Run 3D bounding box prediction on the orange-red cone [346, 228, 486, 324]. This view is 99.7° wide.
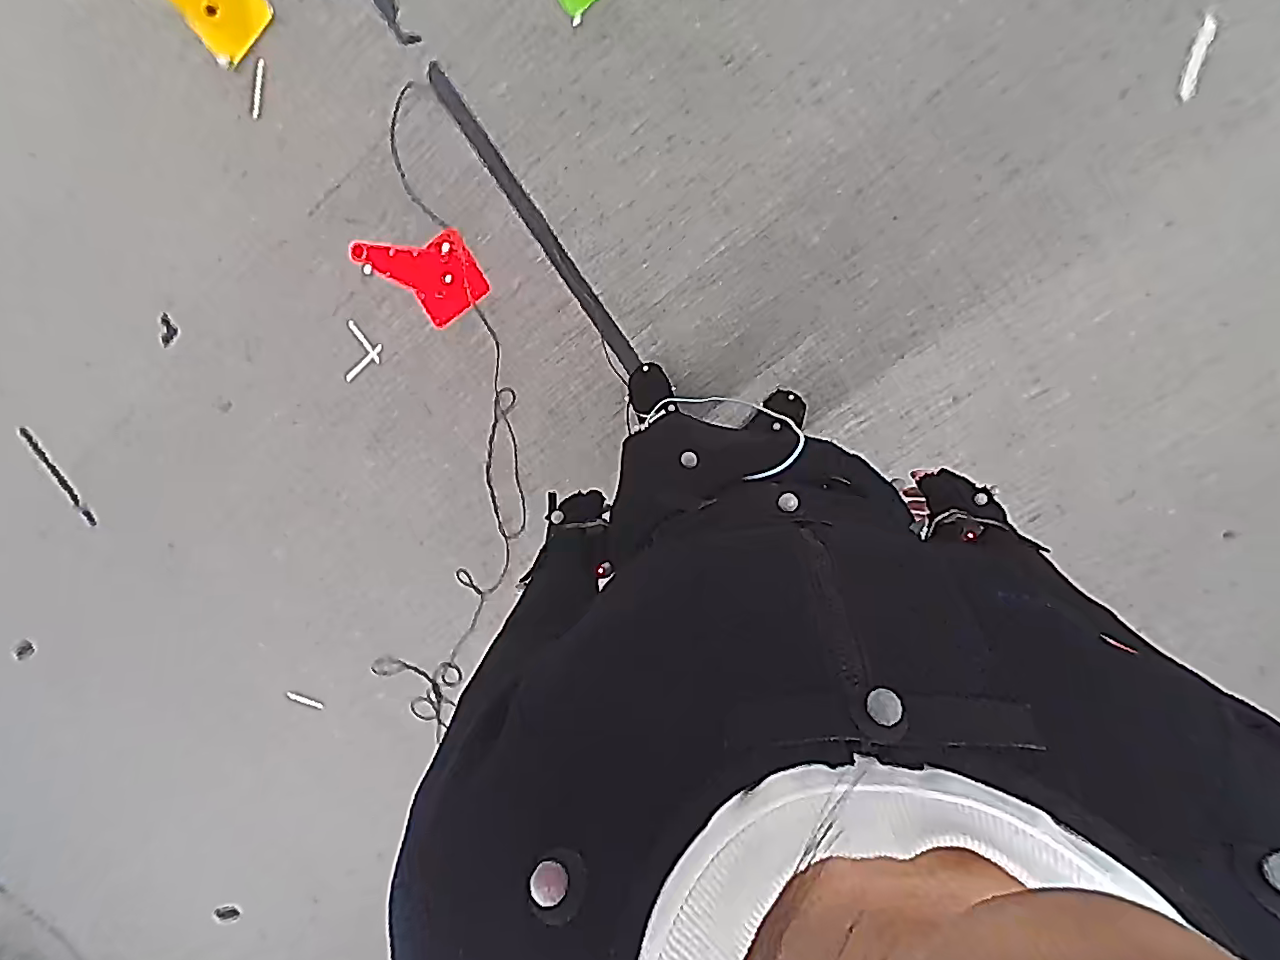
[{"bbox_3d":[-0.562,-0.514,1.290,0.199,0.360,0.198,-29,94,16],"label":"orange-red cone"}]

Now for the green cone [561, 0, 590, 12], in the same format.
[{"bbox_3d":[-0.160,-1.187,1.072,0.202,0.368,0.200,-34,94,14],"label":"green cone"}]
